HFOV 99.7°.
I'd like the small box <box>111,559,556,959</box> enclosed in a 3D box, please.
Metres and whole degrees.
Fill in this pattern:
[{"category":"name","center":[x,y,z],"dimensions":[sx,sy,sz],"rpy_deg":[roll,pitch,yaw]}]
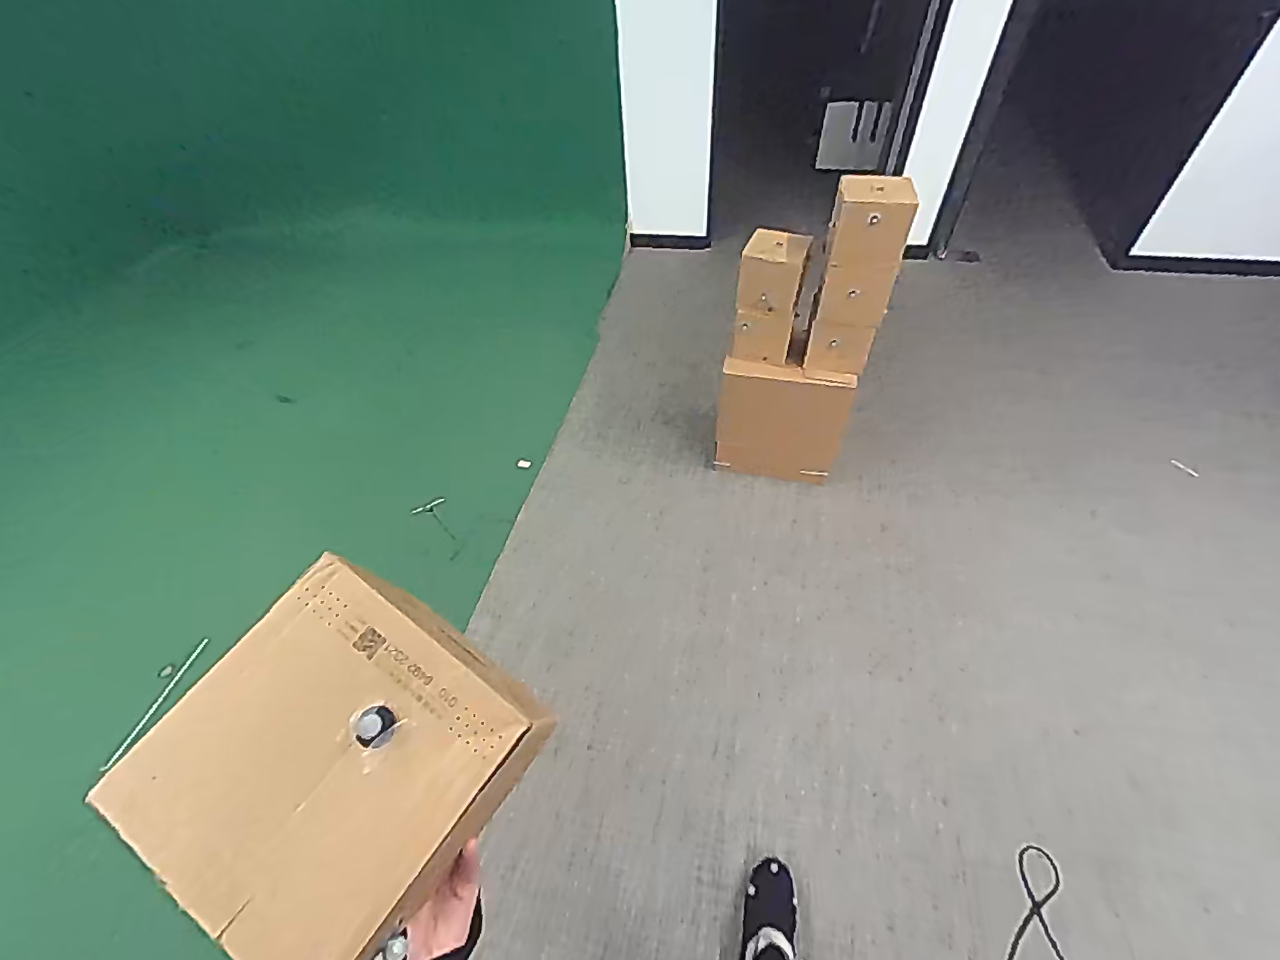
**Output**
[{"category":"small box","center":[-0.175,0.183,0.377],"dimensions":[0.168,0.179,0.176],"rpy_deg":[34,69,13]}]

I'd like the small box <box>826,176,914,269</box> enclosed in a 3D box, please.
[{"category":"small box","center":[0.583,-0.663,1.396],"dimensions":[0.179,0.176,0.168],"rpy_deg":[7,50,10]}]
